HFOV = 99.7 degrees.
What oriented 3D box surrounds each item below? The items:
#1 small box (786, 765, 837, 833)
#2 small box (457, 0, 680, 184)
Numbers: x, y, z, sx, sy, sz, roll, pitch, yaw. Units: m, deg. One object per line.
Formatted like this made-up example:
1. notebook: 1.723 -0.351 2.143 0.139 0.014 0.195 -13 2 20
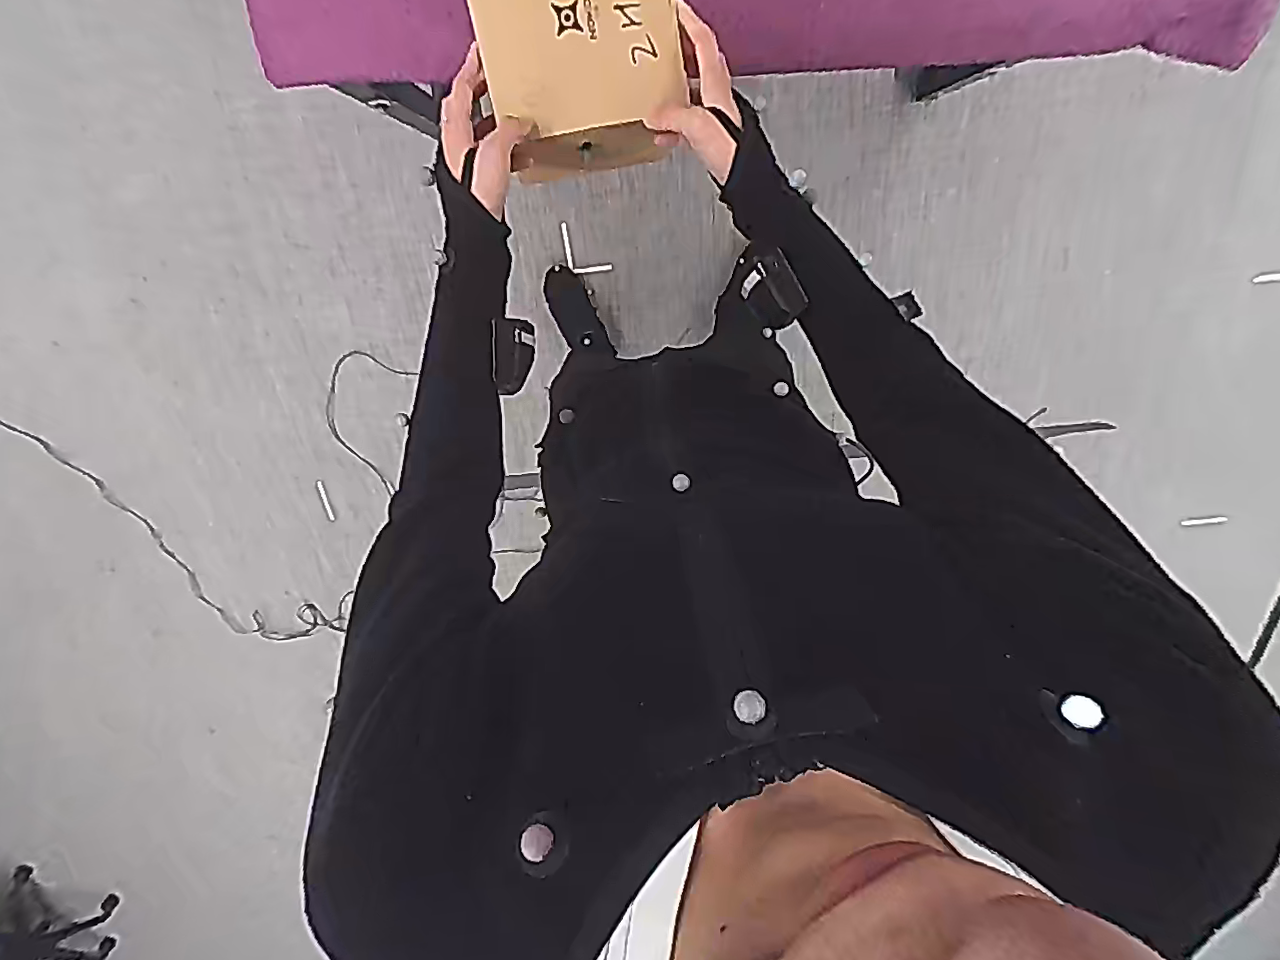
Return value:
1. small box: 0.724 1.341 2.279 0.168 0.176 0.179 -12 114 2
2. small box: -0.069 -0.409 0.533 0.179 0.176 0.168 -12 109 -4
